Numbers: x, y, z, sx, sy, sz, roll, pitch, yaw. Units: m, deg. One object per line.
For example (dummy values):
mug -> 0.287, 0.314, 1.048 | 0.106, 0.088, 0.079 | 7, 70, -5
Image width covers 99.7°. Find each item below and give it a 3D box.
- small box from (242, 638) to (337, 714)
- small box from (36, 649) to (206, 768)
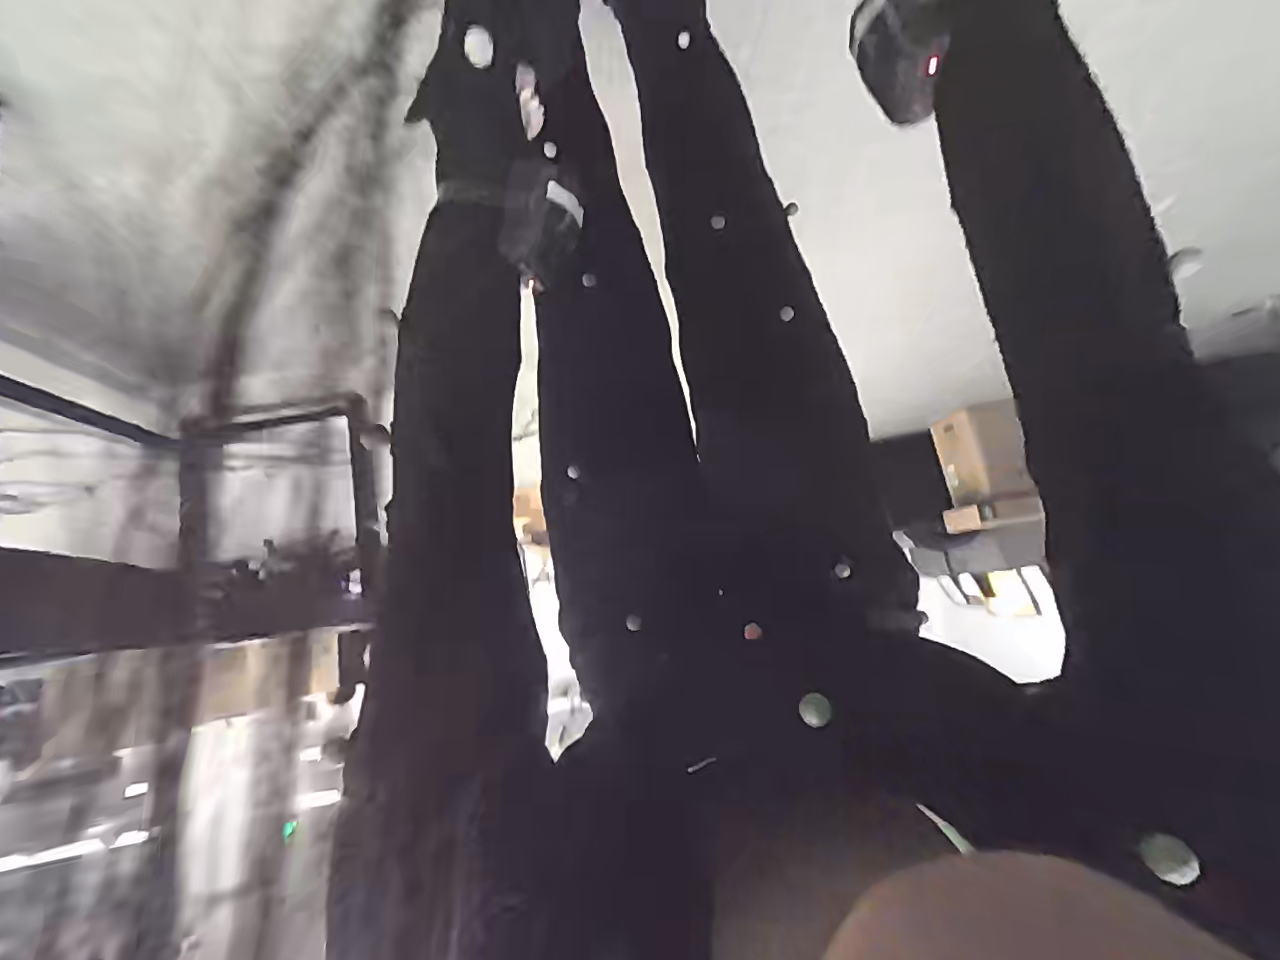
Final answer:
small box -> -0.980, 0.546, 1.525 | 0.179, 0.176, 0.168 | -7, 167, -7
small box -> -0.972, 0.423, 1.032 | 0.179, 0.176, 0.168 | -10, 167, -4
